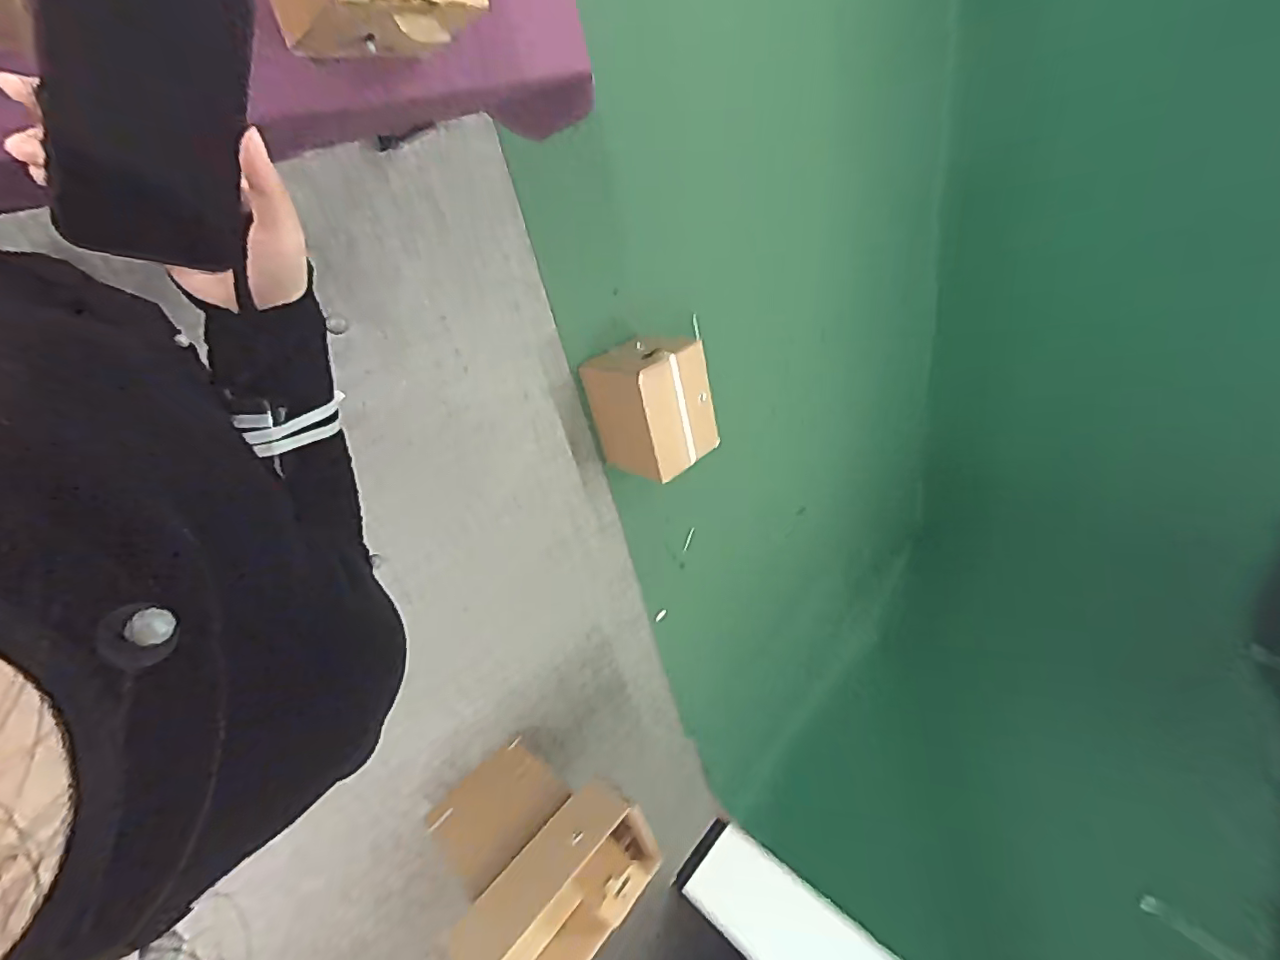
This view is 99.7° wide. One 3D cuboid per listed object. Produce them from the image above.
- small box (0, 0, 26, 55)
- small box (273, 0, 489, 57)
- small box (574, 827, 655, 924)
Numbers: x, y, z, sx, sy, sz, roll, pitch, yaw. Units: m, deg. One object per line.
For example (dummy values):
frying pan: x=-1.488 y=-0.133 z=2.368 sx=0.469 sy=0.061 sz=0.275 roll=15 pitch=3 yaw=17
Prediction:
small box: x=-0.558 y=-0.395 z=0.343 sx=0.168 sy=0.176 sz=0.179 roll=-35 pitch=124 yaw=-33
small box: x=-0.289 y=-0.565 z=0.550 sx=0.168 sy=0.176 sz=0.179 roll=-32 pitch=124 yaw=-33
small box: x=-0.084 y=1.264 z=1.738 sx=0.168 sy=0.176 sz=0.179 roll=-44 pitch=131 yaw=-25
